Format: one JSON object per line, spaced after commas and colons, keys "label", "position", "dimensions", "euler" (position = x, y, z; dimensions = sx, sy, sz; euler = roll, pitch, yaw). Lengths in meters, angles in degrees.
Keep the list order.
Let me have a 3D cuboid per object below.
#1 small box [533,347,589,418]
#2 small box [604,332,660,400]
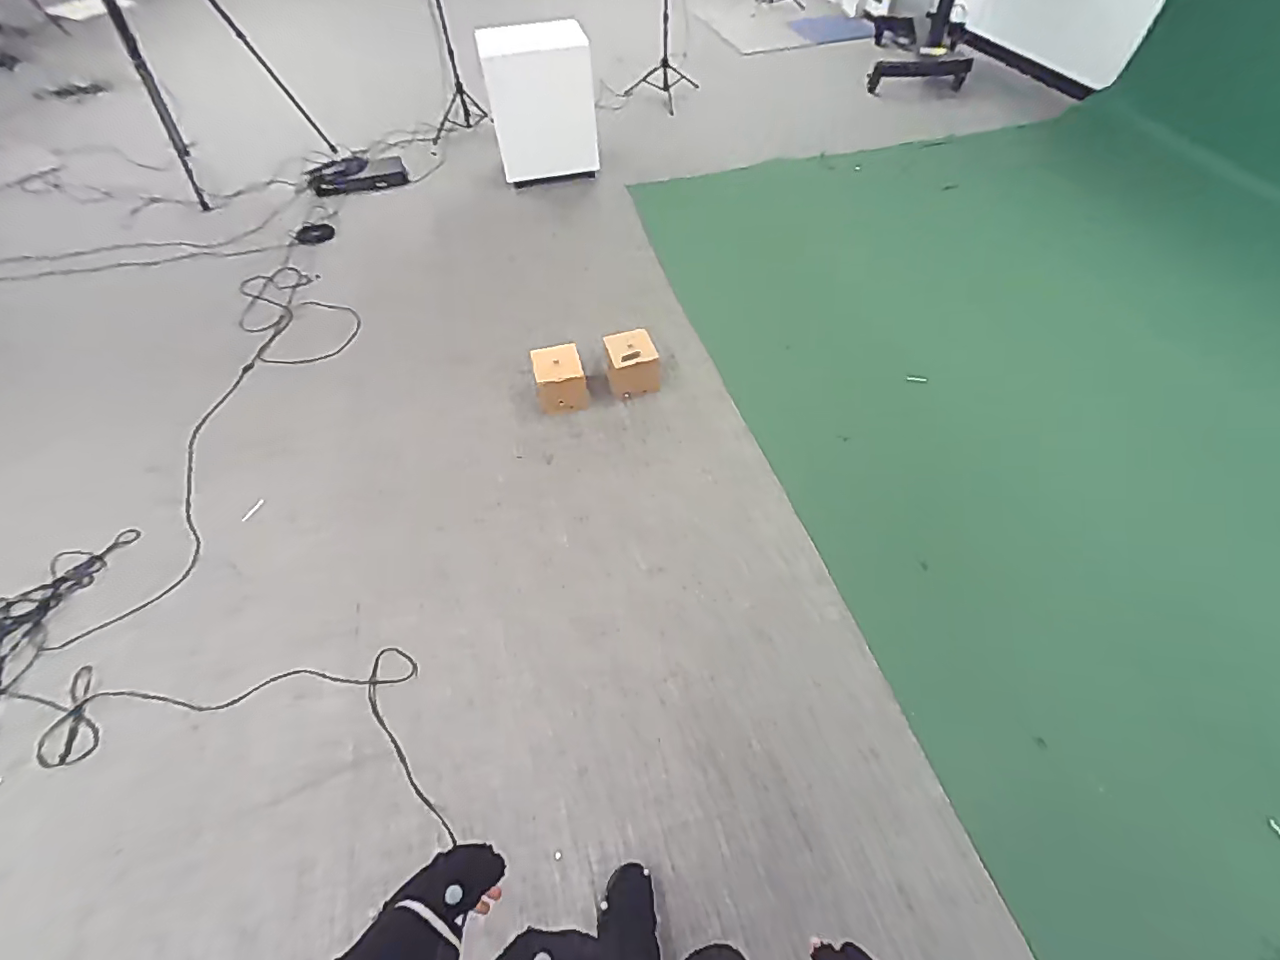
{"label": "small box", "position": [-0.286, -0.351, 1.959], "dimensions": [0.168, 0.176, 0.179], "euler": [-12, 55, -8]}
{"label": "small box", "position": [-0.028, -0.414, 1.998], "dimensions": [0.168, 0.176, 0.179], "euler": [-15, 55, -10]}
